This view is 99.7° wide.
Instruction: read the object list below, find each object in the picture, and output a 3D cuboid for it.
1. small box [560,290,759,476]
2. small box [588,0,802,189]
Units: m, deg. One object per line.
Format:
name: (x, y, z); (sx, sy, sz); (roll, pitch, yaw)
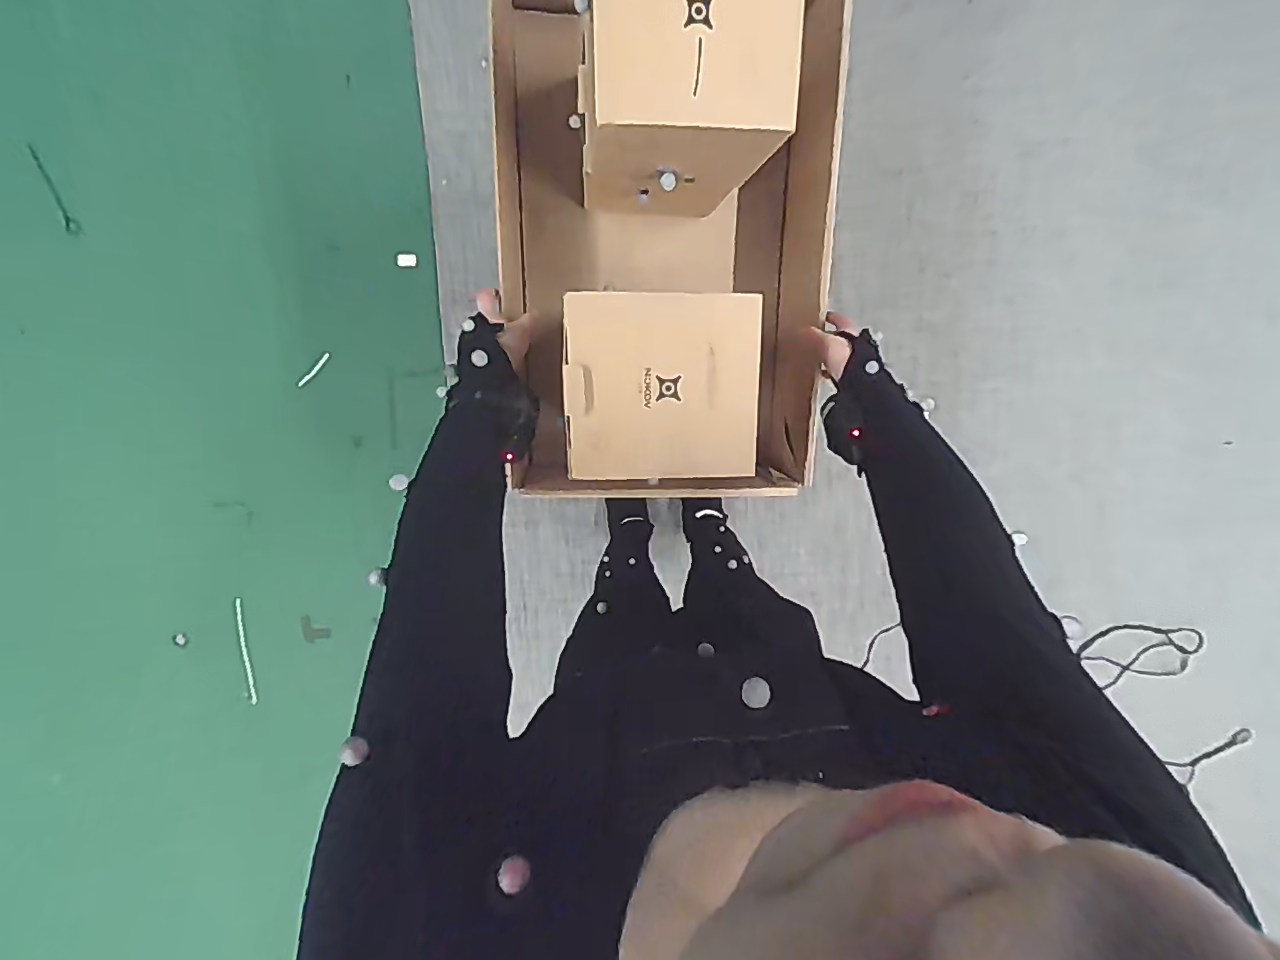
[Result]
small box: (0.011, -0.102, 0.563); (0.179, 0.176, 0.168); (-2, 104, -6)
small box: (0.037, -0.386, 0.493); (0.168, 0.176, 0.179); (-1, 105, -6)
